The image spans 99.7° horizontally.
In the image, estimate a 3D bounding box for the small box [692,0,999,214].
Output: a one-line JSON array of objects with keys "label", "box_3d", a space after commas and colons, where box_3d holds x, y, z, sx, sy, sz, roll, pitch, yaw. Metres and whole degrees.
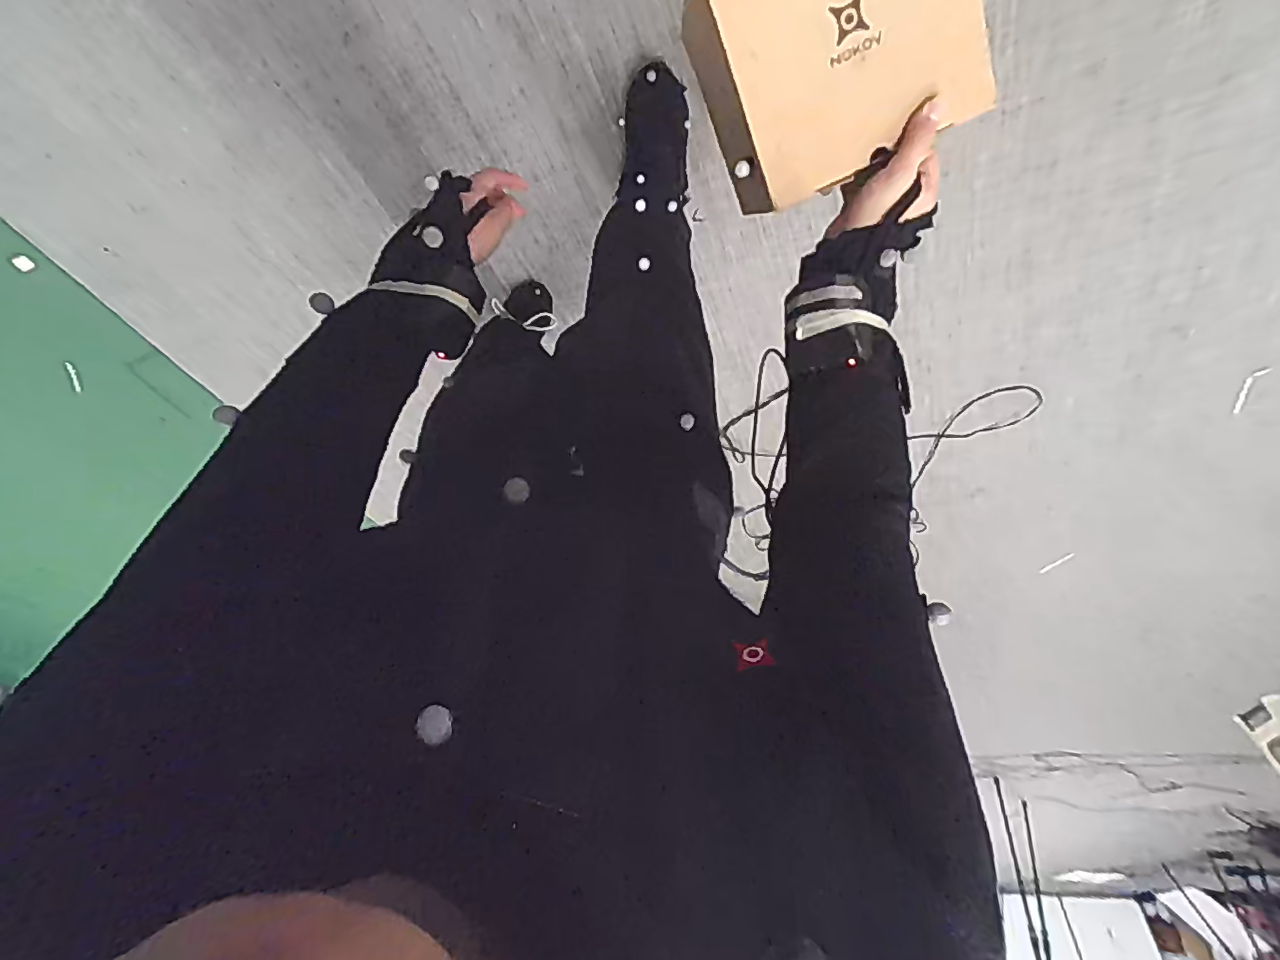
[{"label": "small box", "box_3d": [0.150, -0.341, 0.444, 0.168, 0.176, 0.179, -23, 113, 11]}]
